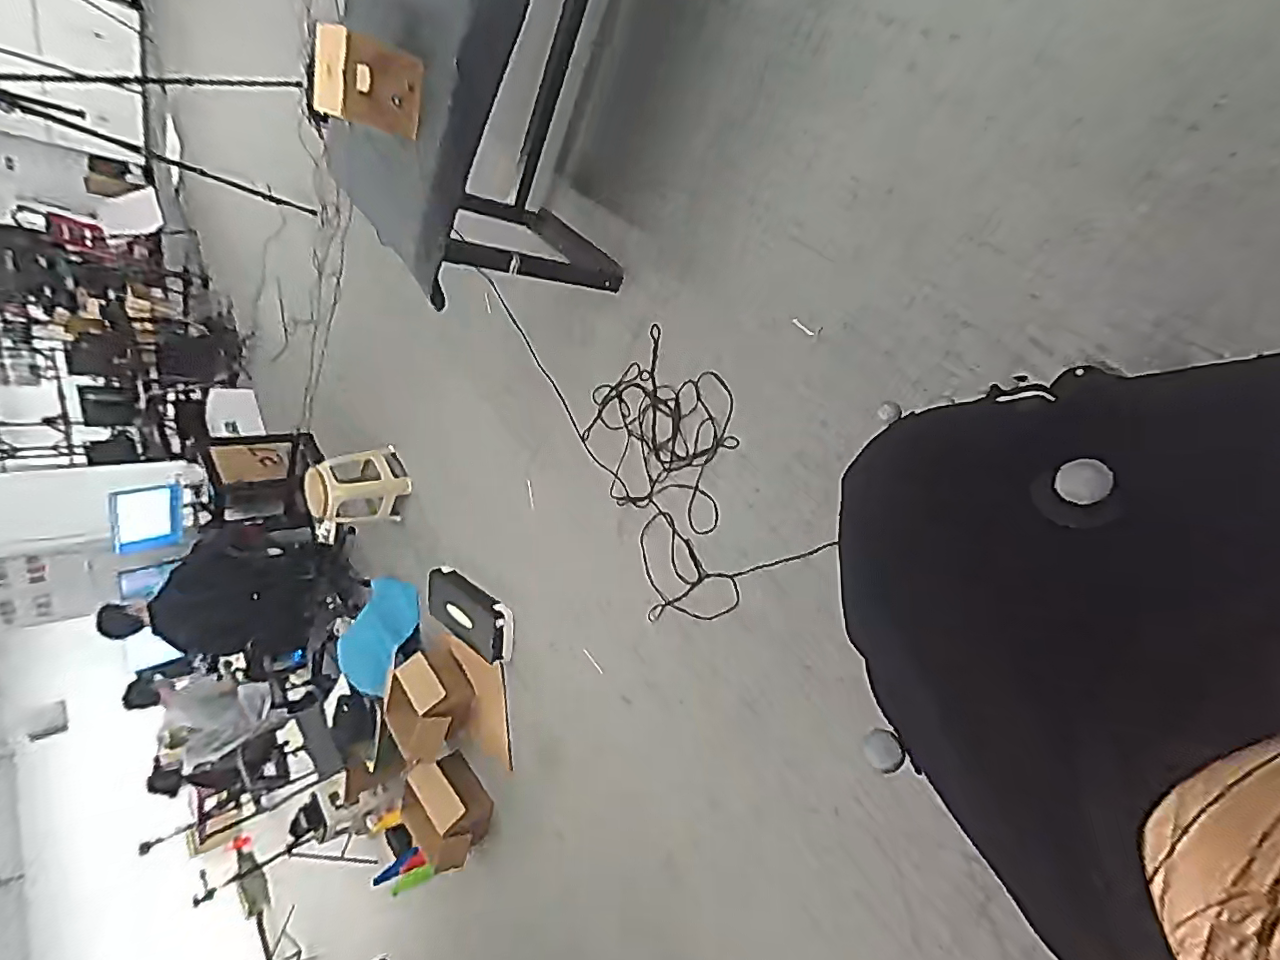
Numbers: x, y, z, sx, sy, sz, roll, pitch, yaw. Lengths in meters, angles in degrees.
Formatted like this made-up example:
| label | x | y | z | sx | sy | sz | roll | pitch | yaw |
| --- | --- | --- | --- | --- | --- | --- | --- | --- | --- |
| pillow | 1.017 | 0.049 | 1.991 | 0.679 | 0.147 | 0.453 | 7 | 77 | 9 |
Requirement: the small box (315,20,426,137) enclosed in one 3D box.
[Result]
| label | x | y | z | sx | sy | sz | roll | pitch | yaw |
| --- | --- | --- | --- | --- | --- | --- | --- | --- | --- |
| small box | -0.613 | -0.906 | 1.229 | 0.179 | 0.176 | 0.168 | 35 | 118 | 33 |
